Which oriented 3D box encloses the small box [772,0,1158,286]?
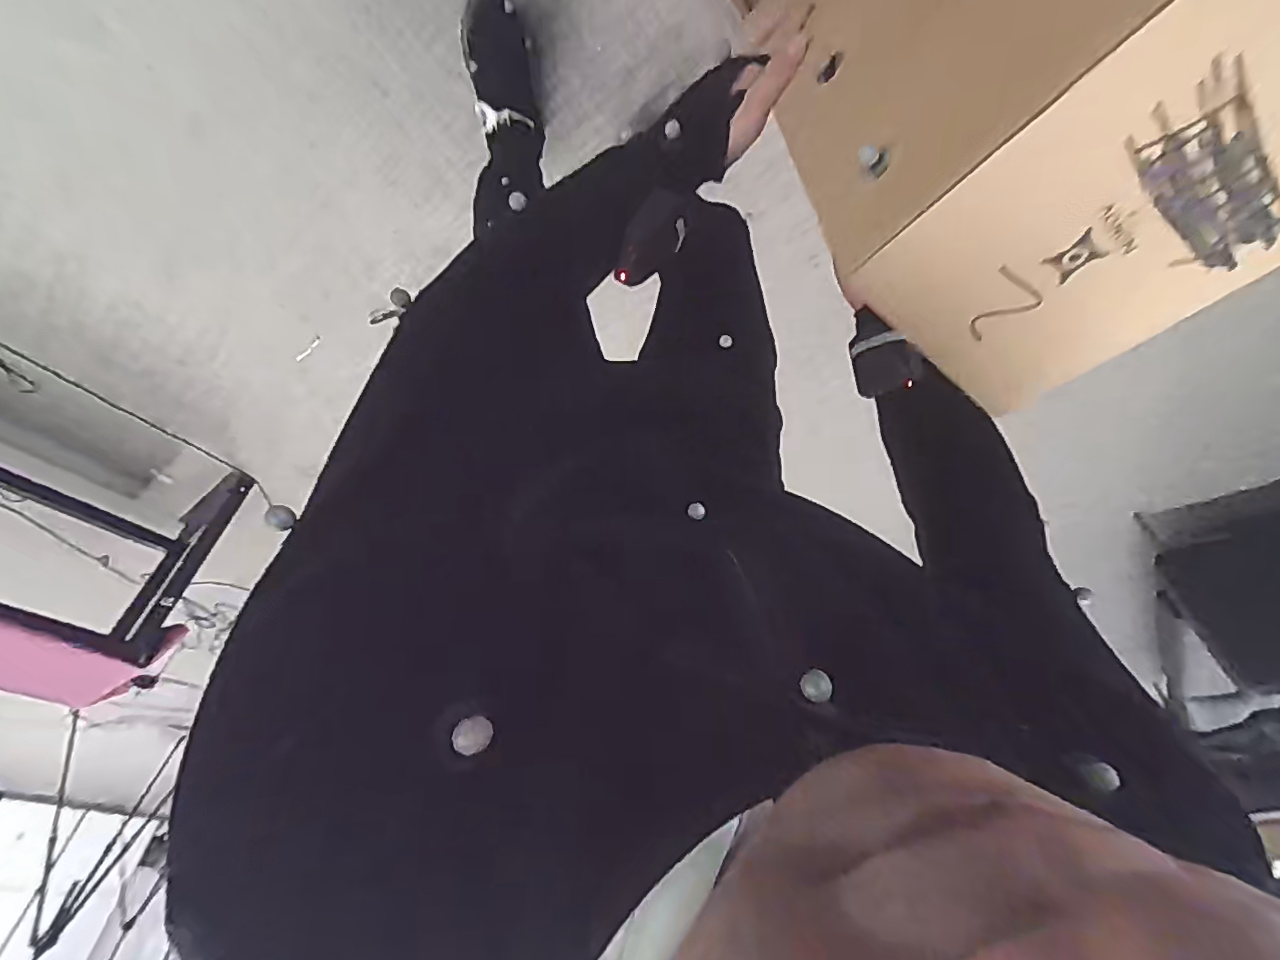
[{"bbox_3d":[0.218,-0.296,0.409,0.168,0.176,0.179,26,135,-29],"label":"small box"}]
